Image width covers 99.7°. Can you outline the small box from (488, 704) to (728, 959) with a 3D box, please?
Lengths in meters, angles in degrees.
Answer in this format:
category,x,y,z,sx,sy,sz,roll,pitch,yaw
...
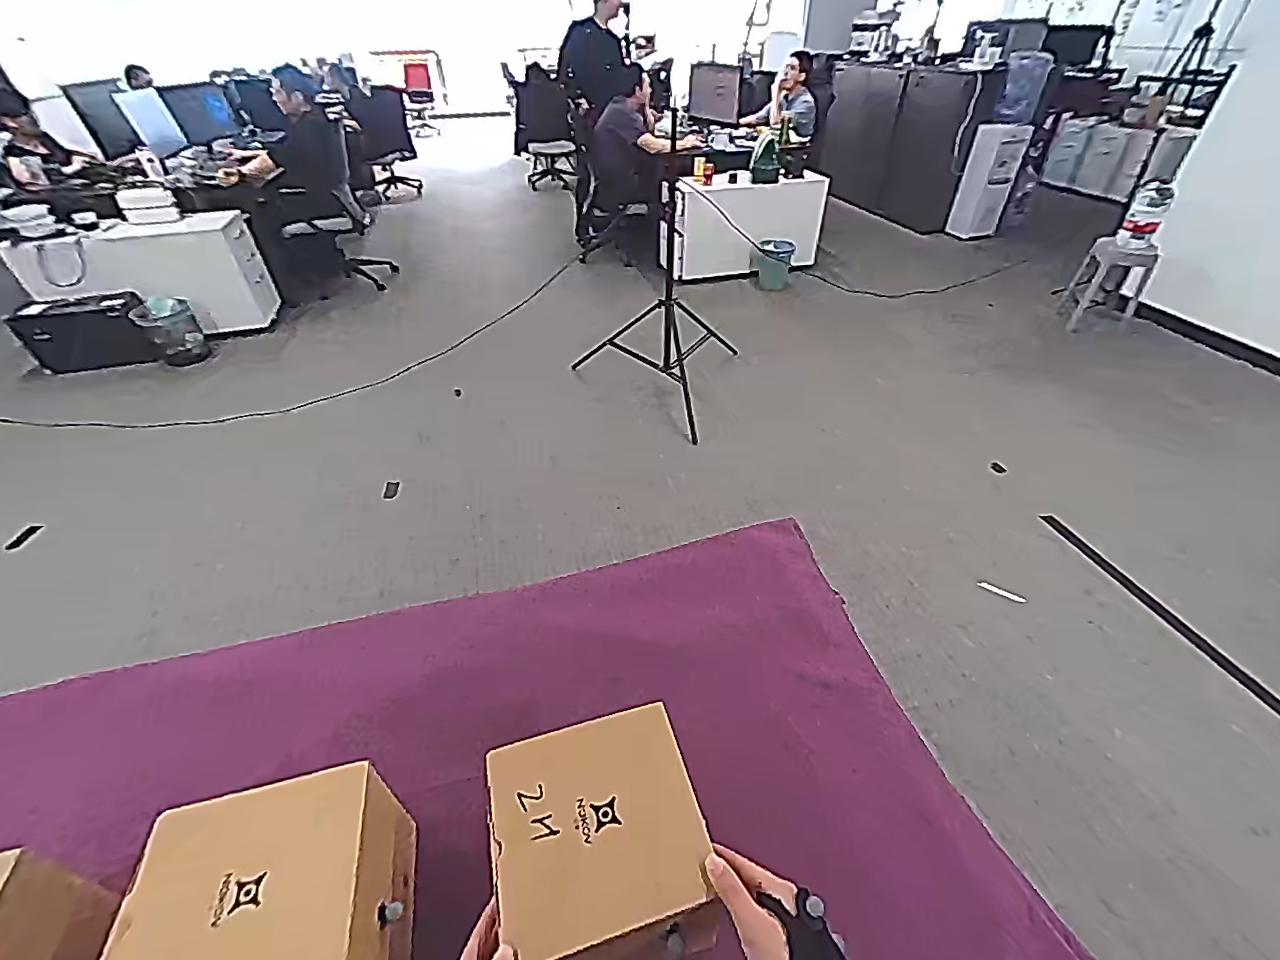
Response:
category,x,y,z,sx,sy,sz,roll,pitch,yaw
small box,-0.035,0.347,0.506,0.179,0.176,0.168,-12,40,-12

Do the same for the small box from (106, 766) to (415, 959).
category,x,y,z,sx,sy,sz,roll,pitch,yaw
small box,-0.308,0.387,0.472,0.179,0.176,0.168,-11,41,-11
